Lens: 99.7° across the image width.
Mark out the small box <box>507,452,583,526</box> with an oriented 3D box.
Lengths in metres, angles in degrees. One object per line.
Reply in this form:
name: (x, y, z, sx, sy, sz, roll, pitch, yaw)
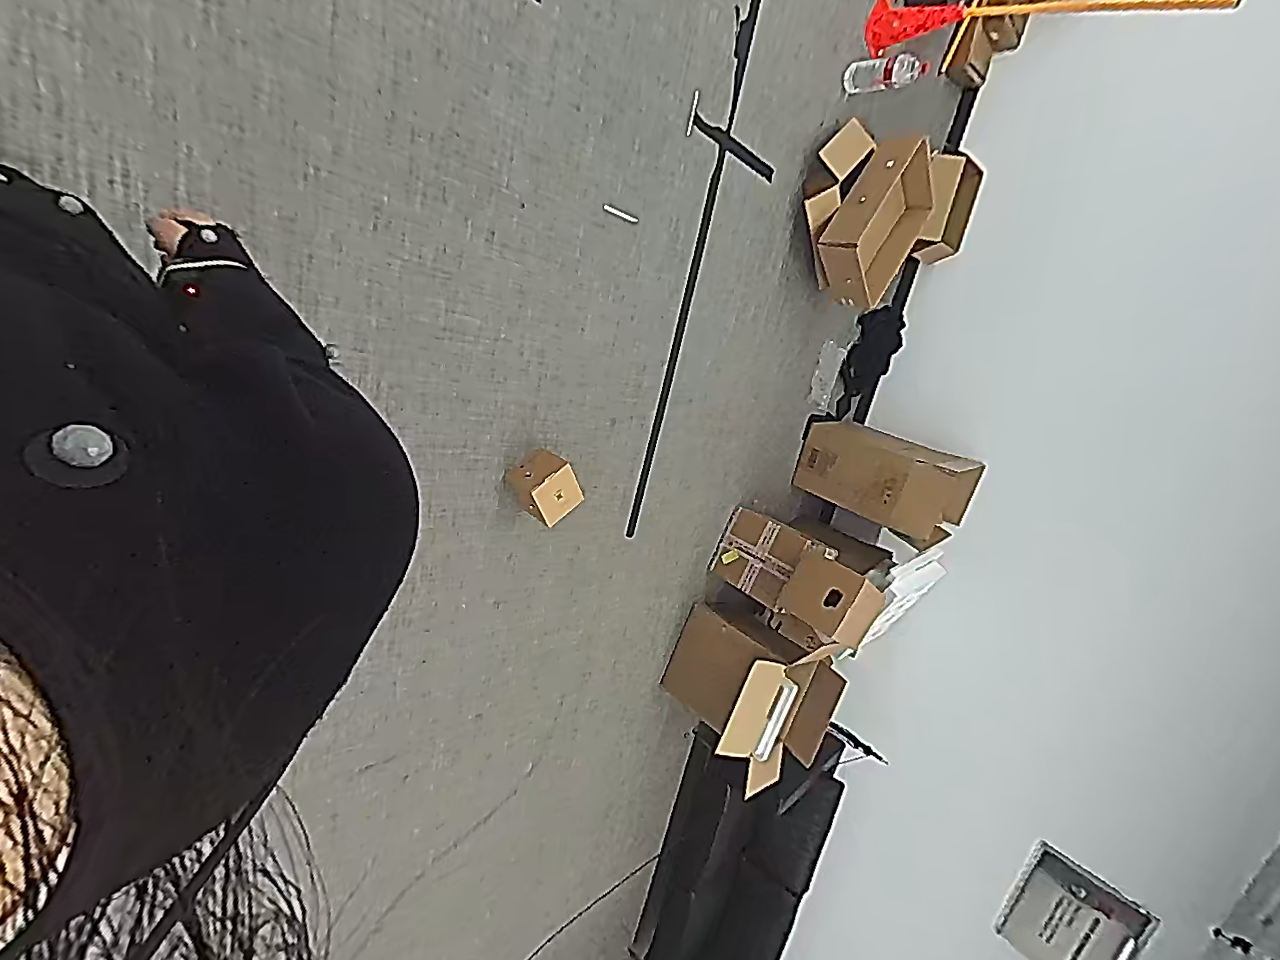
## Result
small box: (-0.329, 0.022, 1.860, 0.168, 0.176, 0.179, -41, 136, -23)
